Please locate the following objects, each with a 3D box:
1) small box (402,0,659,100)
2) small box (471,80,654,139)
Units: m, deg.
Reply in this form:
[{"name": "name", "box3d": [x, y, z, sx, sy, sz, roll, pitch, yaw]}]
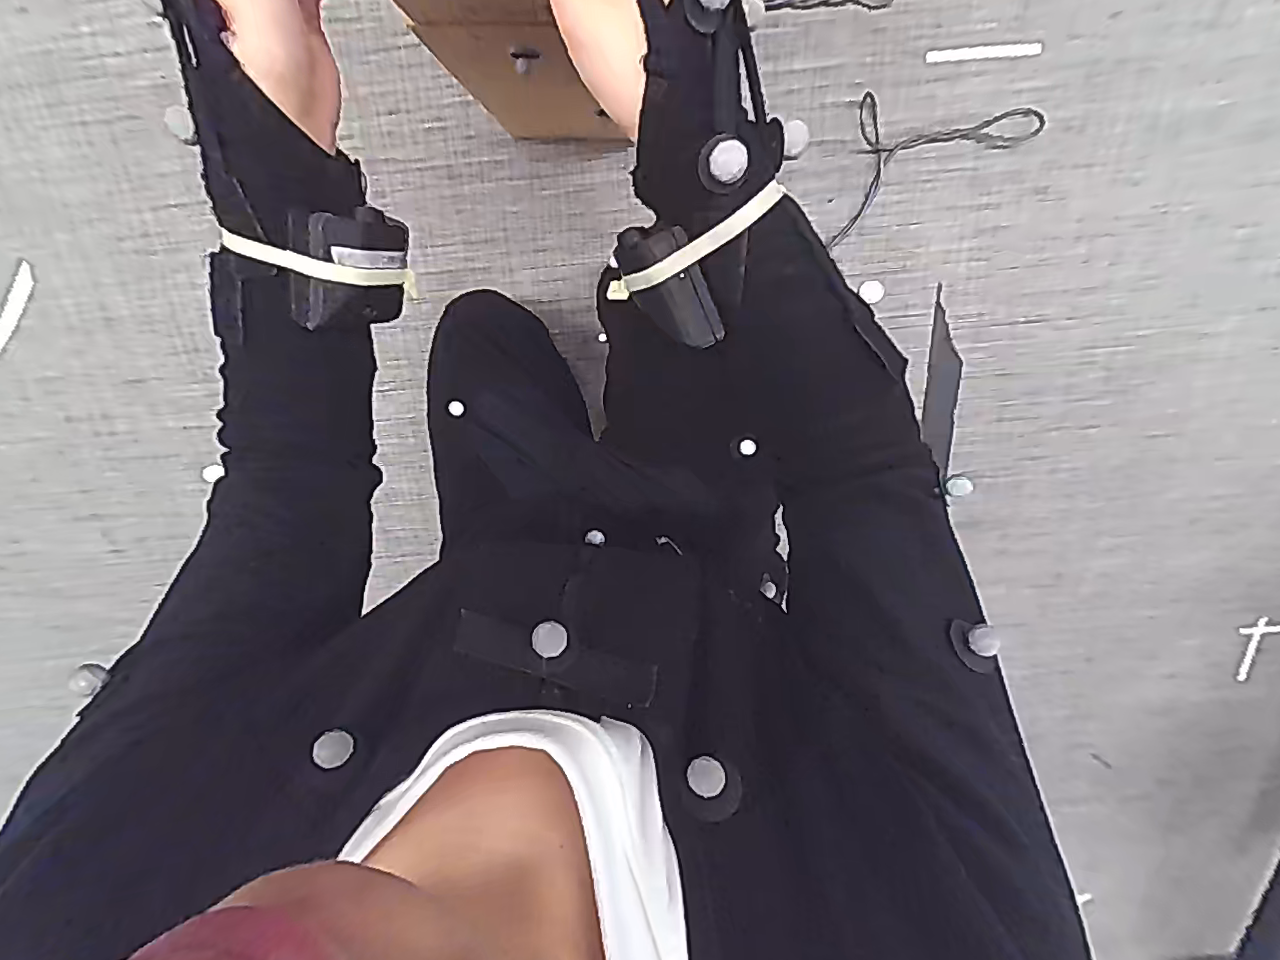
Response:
[{"name": "small box", "box3d": [-0.071, -0.415, 0.416, 0.179, 0.176, 0.168, 2, 111, -1]}, {"name": "small box", "box3d": [-0.073, -0.475, 0.568, 0.179, 0.176, 0.168, 1, 110, 0]}]
